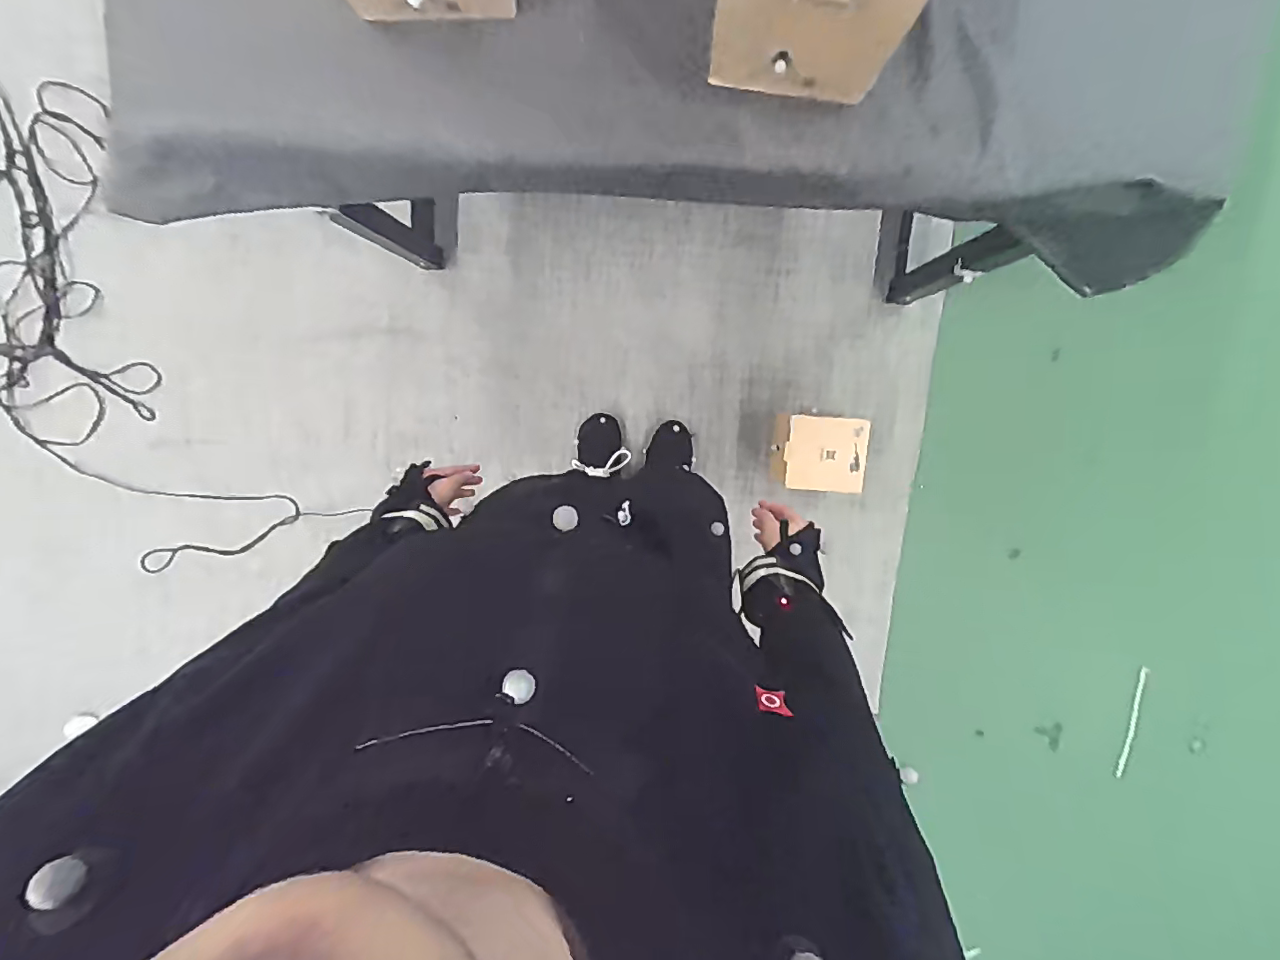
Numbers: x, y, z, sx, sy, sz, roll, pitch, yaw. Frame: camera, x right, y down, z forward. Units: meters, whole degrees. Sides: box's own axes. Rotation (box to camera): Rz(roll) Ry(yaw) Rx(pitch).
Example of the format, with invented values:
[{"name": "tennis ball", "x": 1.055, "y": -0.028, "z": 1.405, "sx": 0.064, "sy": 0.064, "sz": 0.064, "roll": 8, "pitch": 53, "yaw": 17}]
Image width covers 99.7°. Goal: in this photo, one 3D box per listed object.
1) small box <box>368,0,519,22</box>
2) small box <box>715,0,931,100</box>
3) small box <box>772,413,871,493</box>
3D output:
[{"name": "small box", "x": -0.208, "y": -0.561, "z": 0.479, "sx": 0.168, "sy": 0.176, "sz": 0.179, "roll": 1, "pitch": 99, "yaw": 2}, {"name": "small box", "x": 0.164, "y": -0.483, "z": 0.477, "sx": 0.168, "sy": 0.176, "sz": 0.179, "roll": 8, "pitch": 98, "yaw": 1}, {"name": "small box", "x": 0.413, "y": -0.068, "z": 1.263, "sx": 0.179, "sy": 0.176, "sz": 0.168, "roll": 4, "pitch": 97, "yaw": 2}]
